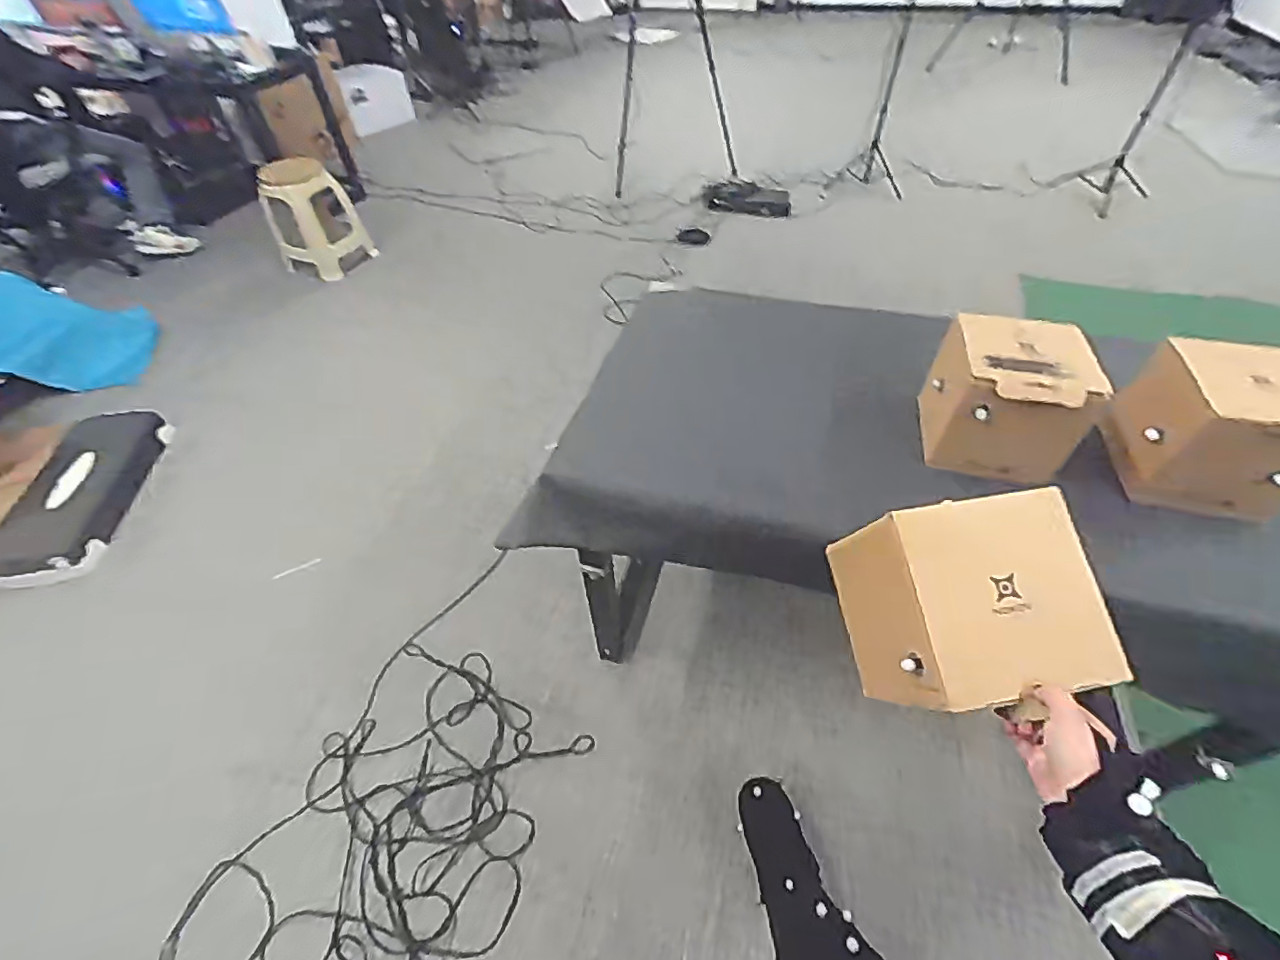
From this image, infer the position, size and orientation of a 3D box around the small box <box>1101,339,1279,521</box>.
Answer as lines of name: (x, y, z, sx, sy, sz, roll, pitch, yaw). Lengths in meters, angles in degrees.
small box: (0.797, -0.067, 0.748, 0.168, 0.176, 0.179, 11, 48, 11)

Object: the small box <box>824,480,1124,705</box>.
small box: (0.309, 0.117, 0.547, 0.168, 0.176, 0.179, -9, 73, -6)
